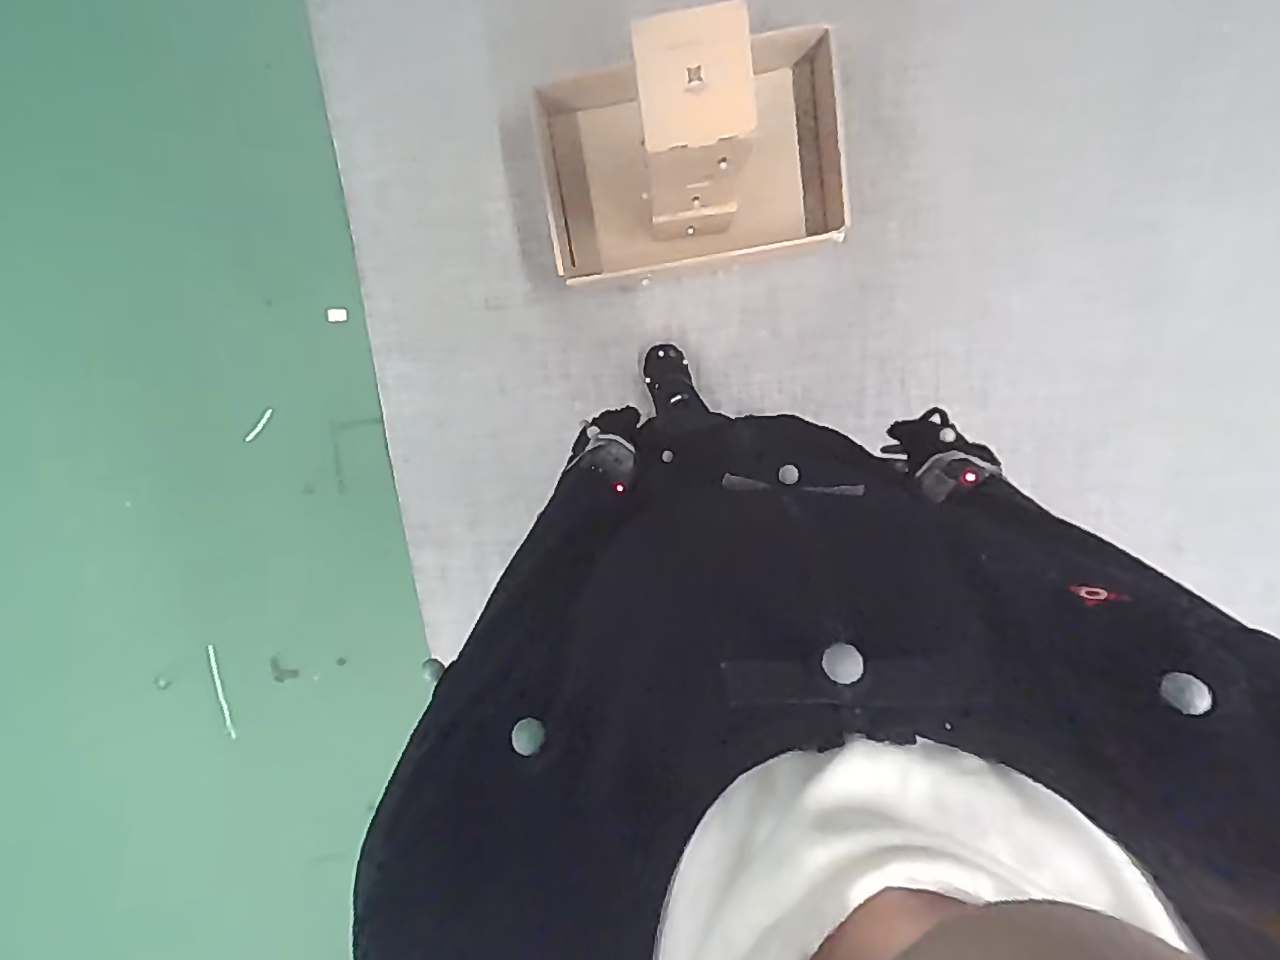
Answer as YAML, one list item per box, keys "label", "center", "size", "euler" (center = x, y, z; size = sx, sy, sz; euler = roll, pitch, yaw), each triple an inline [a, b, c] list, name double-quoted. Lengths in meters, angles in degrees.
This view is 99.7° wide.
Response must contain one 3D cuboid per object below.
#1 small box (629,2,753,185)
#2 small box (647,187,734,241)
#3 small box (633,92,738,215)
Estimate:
- label: "small box"
  center: [0.079, -0.590, 0.854]
  size: [0.168, 0.176, 0.179]
  euler: [-8, 99, 4]
- label: "small box"
  center: [0.106, -0.641, 1.191]
  size: [0.179, 0.176, 0.168]
  euler: [-5, 100, 5]
- label: "small box"
  center: [0.089, -0.626, 1.032]
  size: [0.168, 0.176, 0.179]
  euler: [-10, 100, 6]
